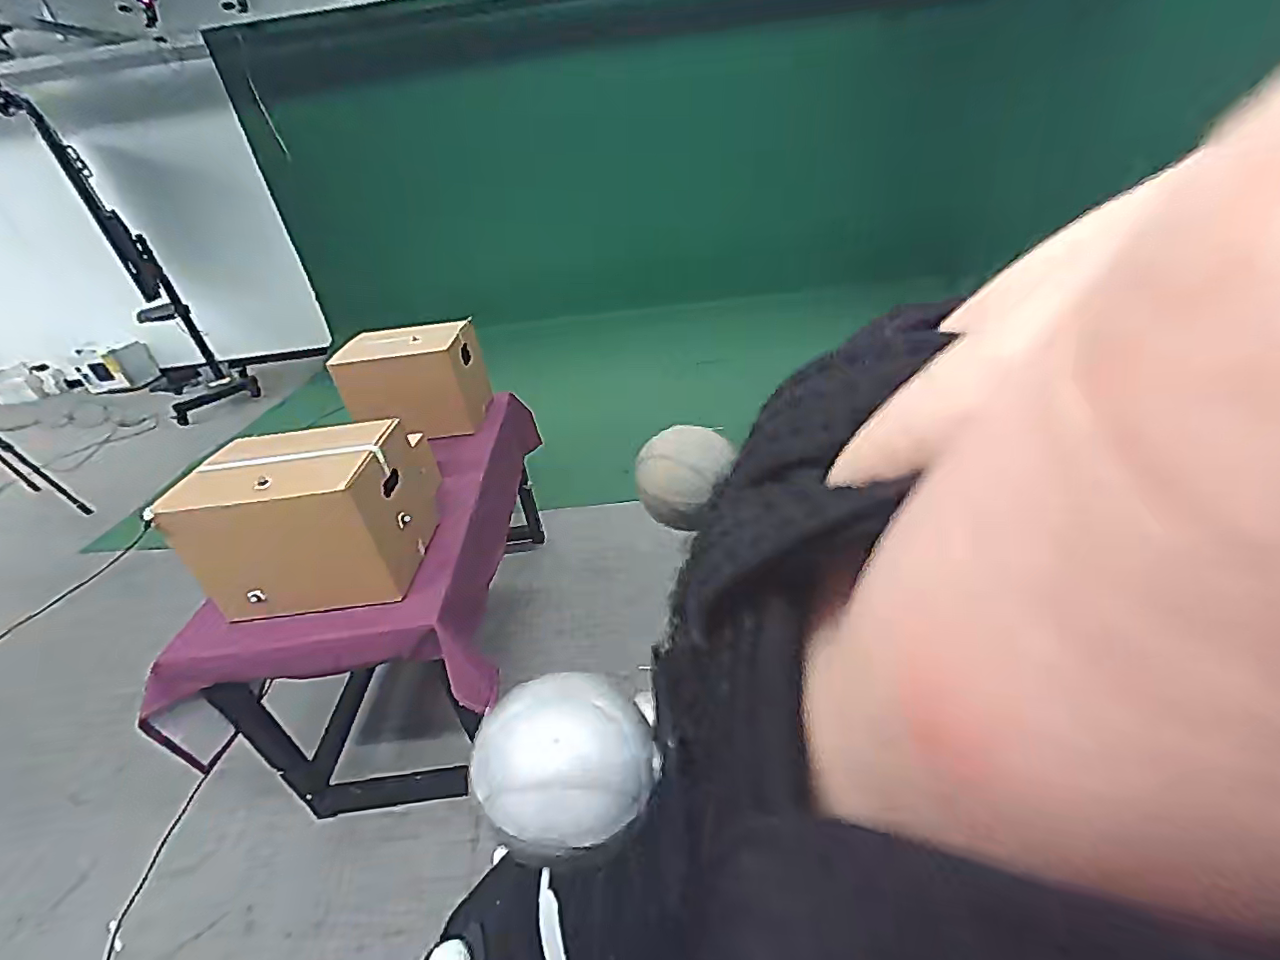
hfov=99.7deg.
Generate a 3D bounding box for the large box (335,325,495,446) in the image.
[{"bbox_3d":[-0.778,-0.341,1.933,0.408,0.320,0.320,-5,33,2],"label":"large box"}]
